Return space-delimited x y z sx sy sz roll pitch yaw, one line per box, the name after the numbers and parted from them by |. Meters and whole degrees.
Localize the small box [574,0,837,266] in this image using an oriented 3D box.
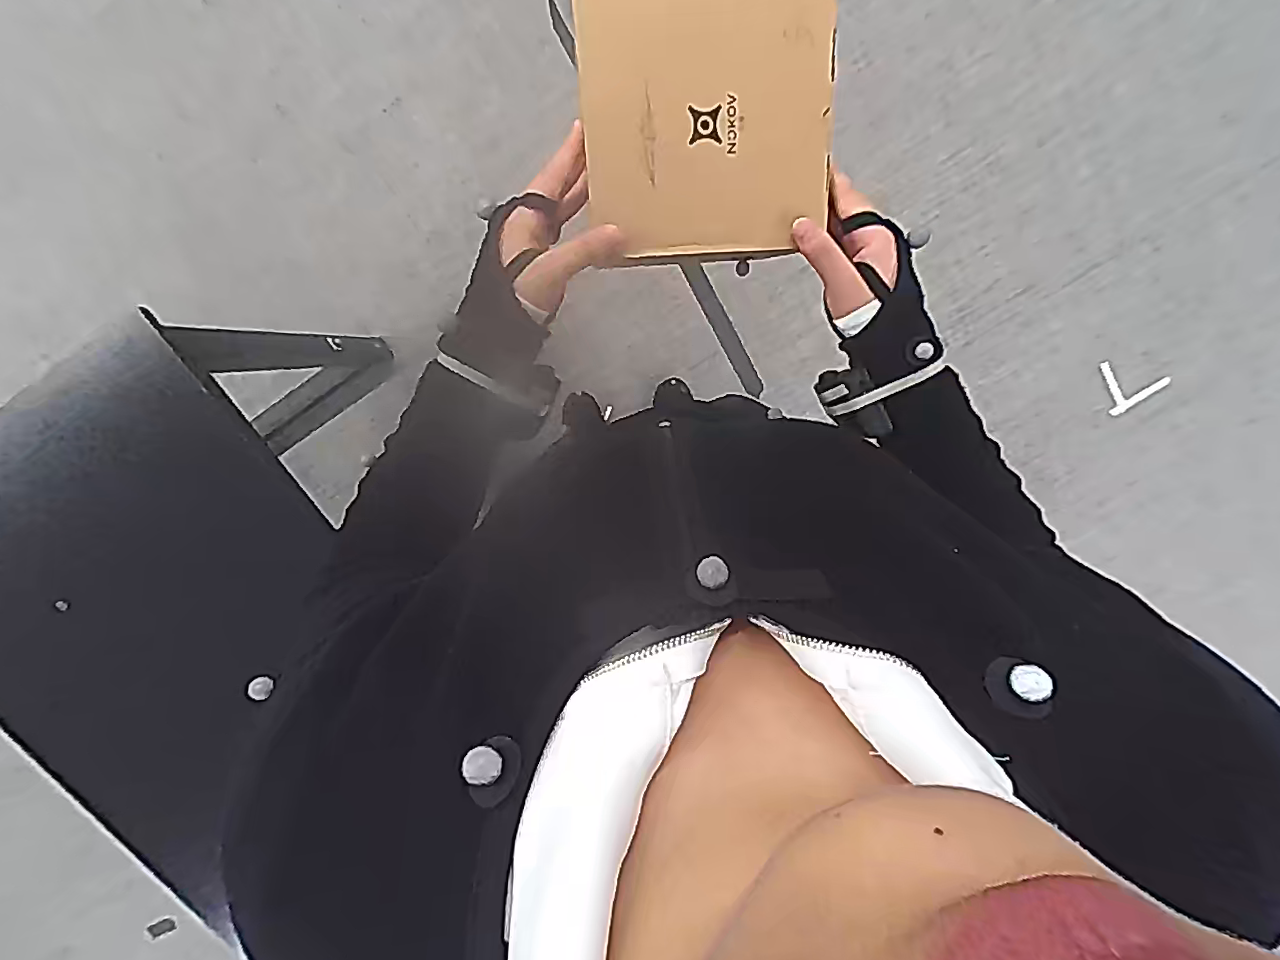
0.041 -0.273 0.447 0.179 0.176 0.168 -6 109 -2 | small box
